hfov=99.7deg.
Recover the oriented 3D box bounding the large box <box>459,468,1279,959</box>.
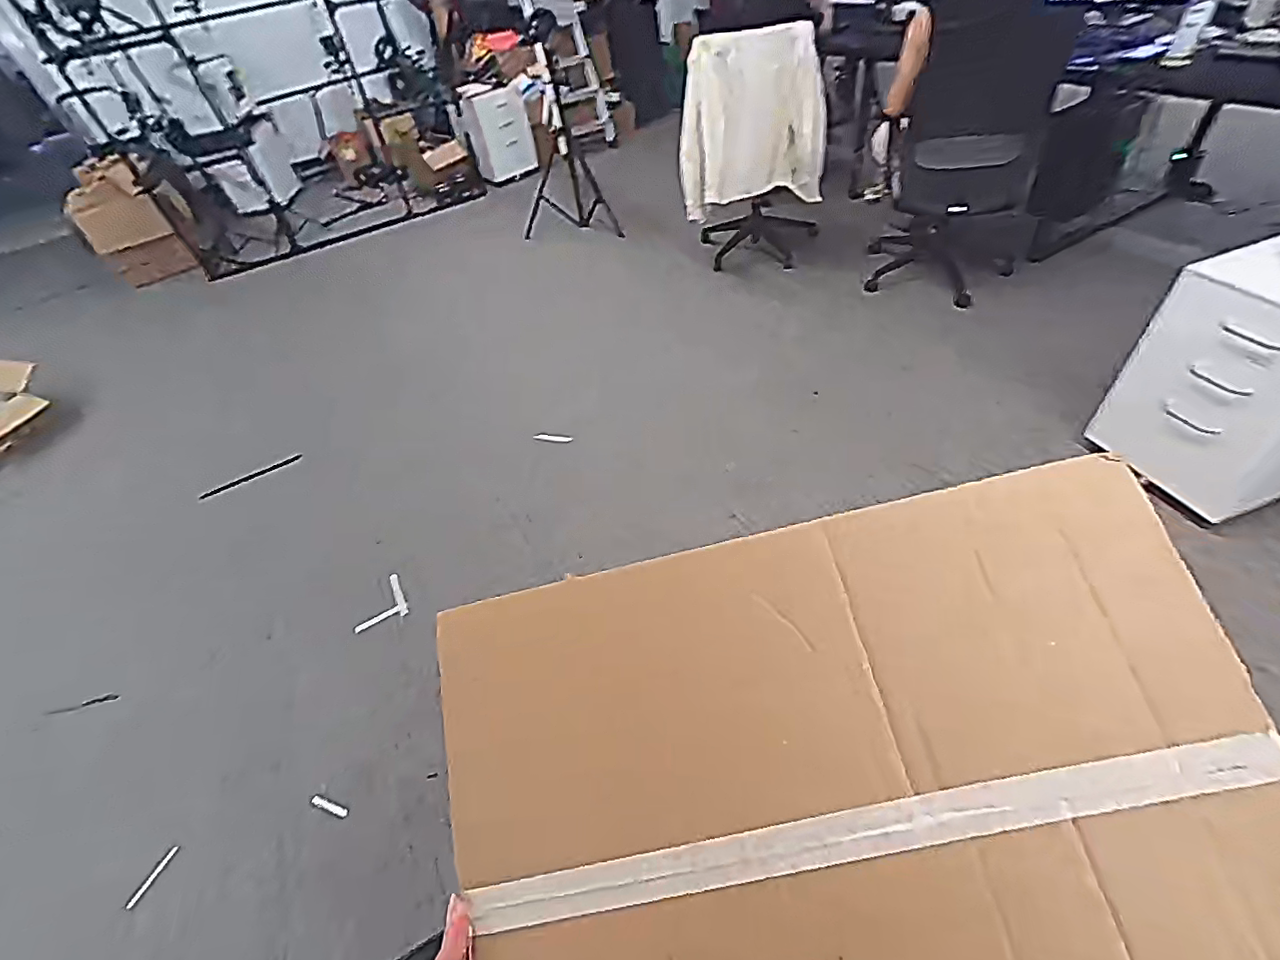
[{"bbox_3d":[0.129,0.230,0.415,0.408,0.320,0.320,-15,70,5],"label":"large box"}]
